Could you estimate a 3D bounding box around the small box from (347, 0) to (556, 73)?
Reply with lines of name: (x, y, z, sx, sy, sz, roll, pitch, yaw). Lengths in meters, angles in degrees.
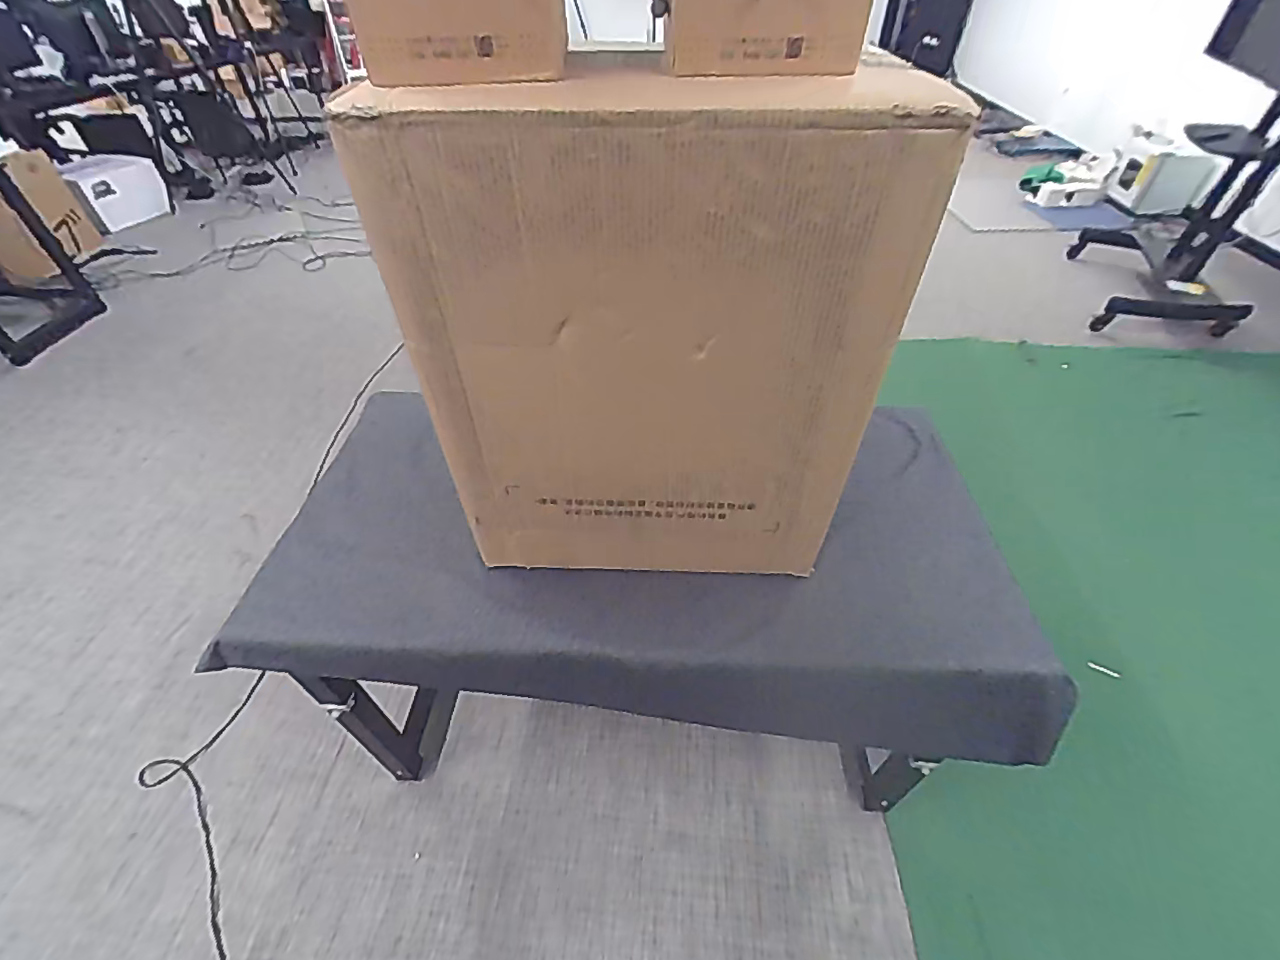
small box: (-0.165, -0.468, 0.464, 0.168, 0.176, 0.179, -6, 49, -4)

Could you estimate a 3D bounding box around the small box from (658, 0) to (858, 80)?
small box: (0.101, -0.476, 0.483, 0.168, 0.176, 0.179, -2, 48, 0)
